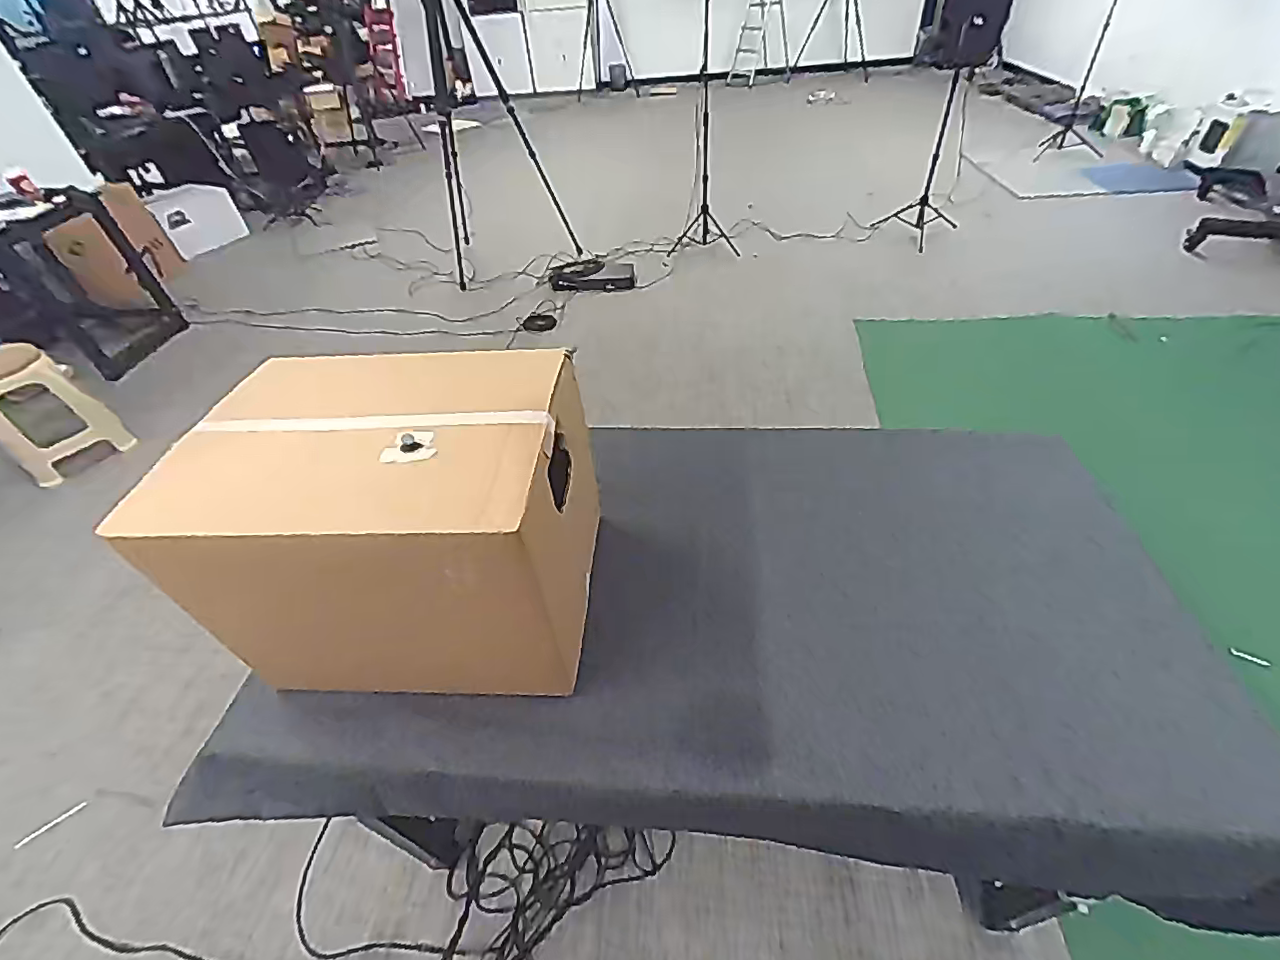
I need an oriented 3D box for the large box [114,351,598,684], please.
[{"bbox_3d":[-0.279,0.048,0.695,0.408,0.320,0.320,0,44,3],"label":"large box"}]
